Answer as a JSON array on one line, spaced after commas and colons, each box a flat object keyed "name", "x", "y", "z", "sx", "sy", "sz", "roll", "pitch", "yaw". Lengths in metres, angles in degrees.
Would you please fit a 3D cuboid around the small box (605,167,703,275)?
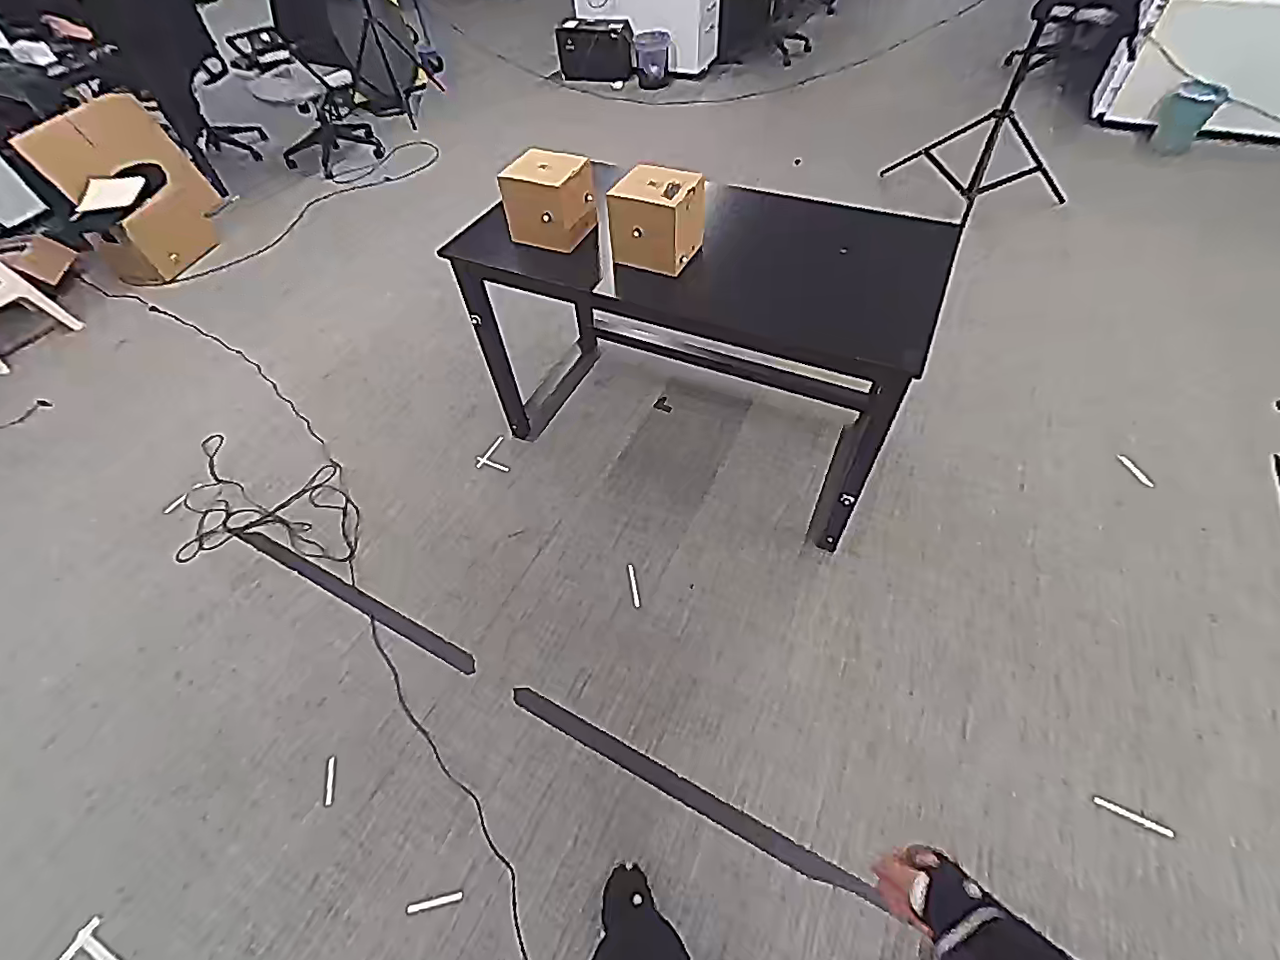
[{"name": "small box", "x": 0.039, "y": -0.615, "z": 1.292, "sx": 0.179, "sy": 0.176, "sz": 0.168, "roll": 20, "pitch": 57, "yaw": 19}]

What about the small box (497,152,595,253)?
[{"name": "small box", "x": -0.229, "y": -0.703, "z": 1.379, "sx": 0.179, "sy": 0.176, "sz": 0.168, "roll": 18, "pitch": 55, "yaw": 17}]
